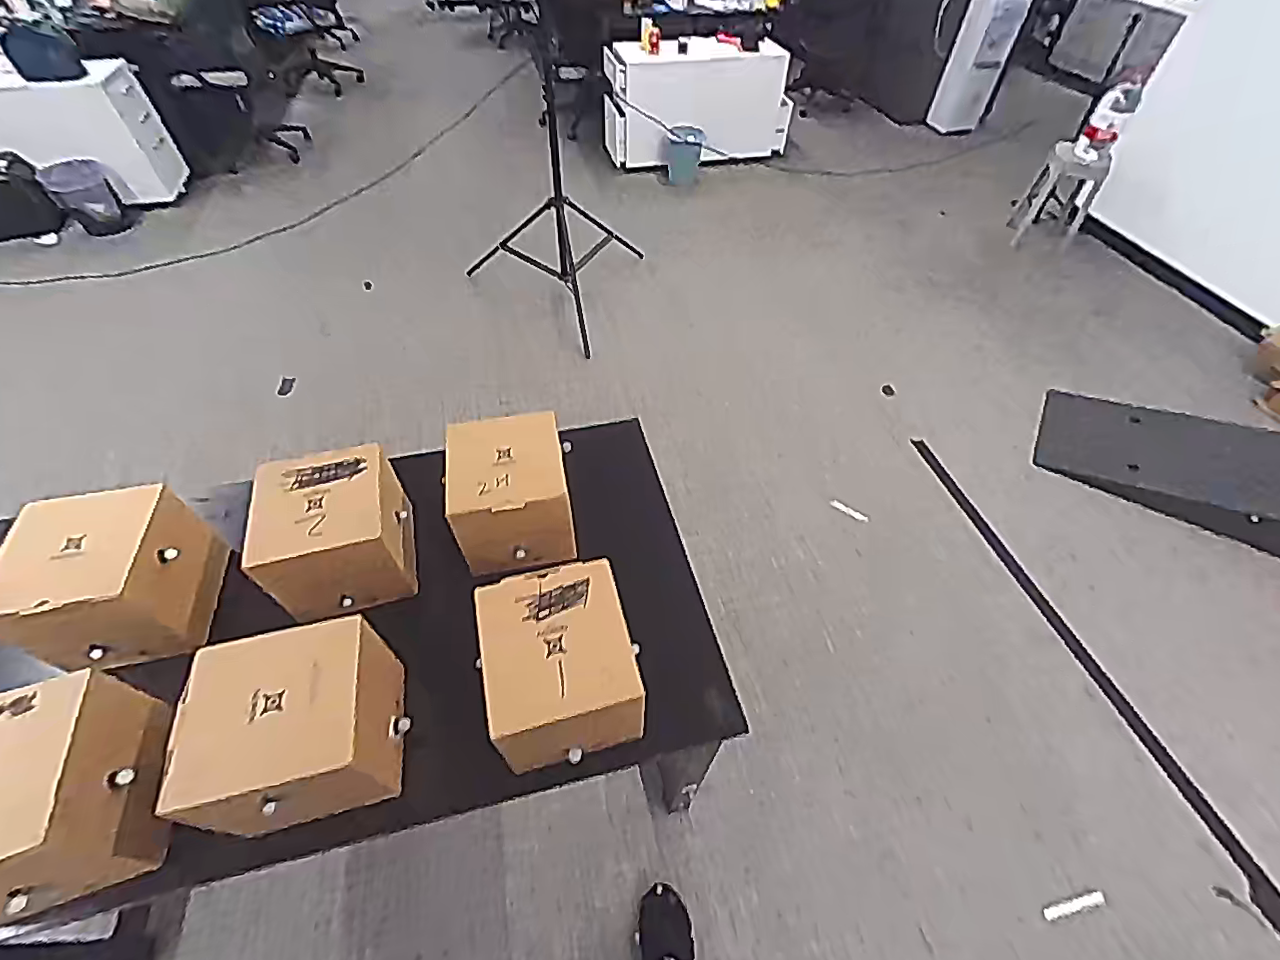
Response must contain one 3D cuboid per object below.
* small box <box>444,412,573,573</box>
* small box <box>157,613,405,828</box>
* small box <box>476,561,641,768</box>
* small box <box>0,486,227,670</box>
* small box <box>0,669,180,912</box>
[{"bbox_3d":[-0.201,0.021,0.850,0.168,0.176,0.179,-9,51,-8],"label":"small box"},{"bbox_3d":[-0.392,0.283,0.631,0.179,0.176,0.168,-11,52,-11],"label":"small box"},{"bbox_3d":[-0.101,0.232,0.678,0.168,0.176,0.179,-12,52,-10],"label":"small box"},{"bbox_3d":[-0.715,0.135,0.744,0.168,0.176,0.179,-9,52,-9],"label":"small box"},{"bbox_3d":[-0.639,0.336,0.578,0.168,0.176,0.179,-15,53,-14],"label":"small box"}]
